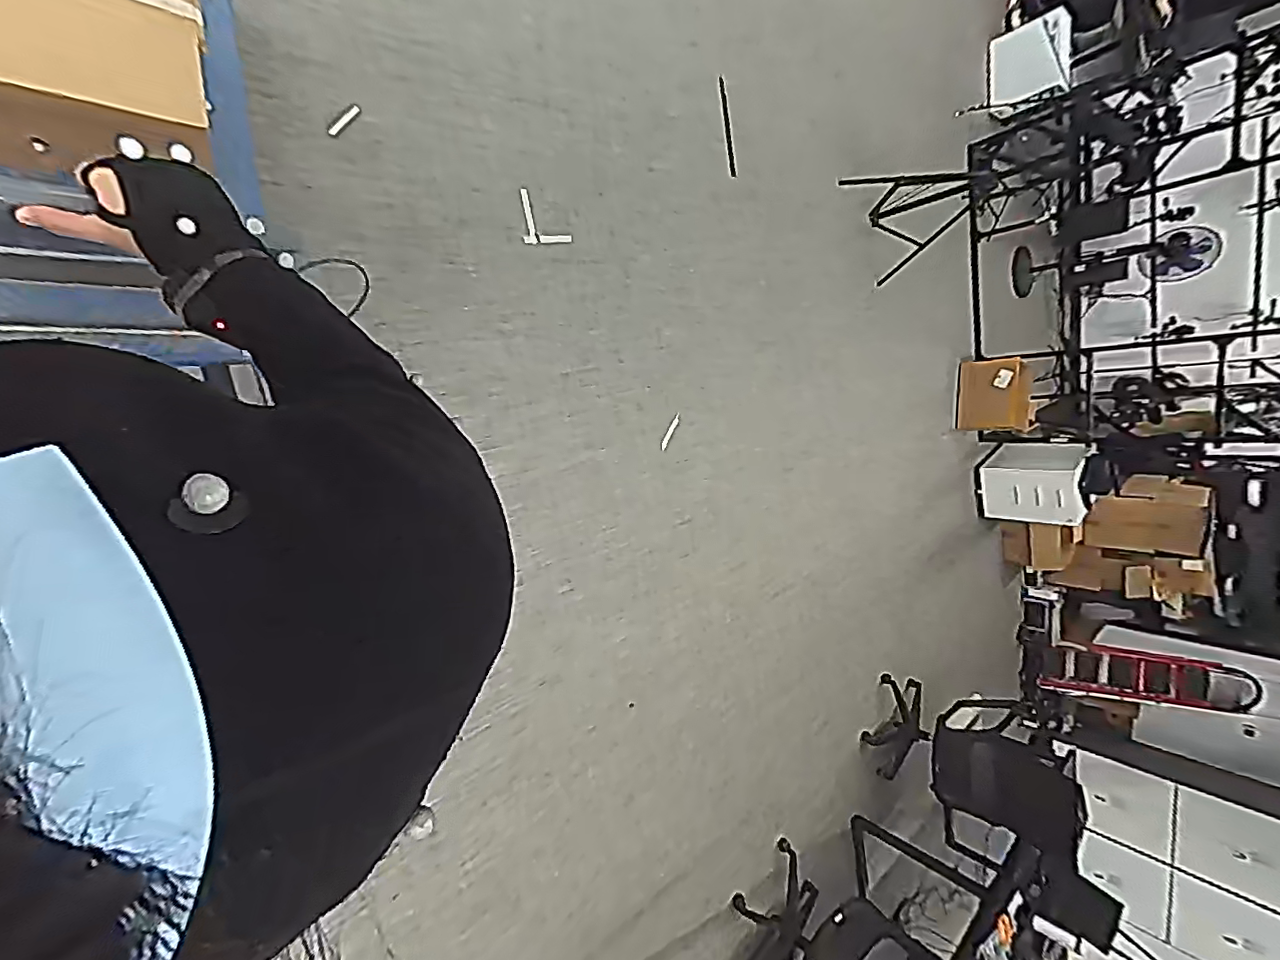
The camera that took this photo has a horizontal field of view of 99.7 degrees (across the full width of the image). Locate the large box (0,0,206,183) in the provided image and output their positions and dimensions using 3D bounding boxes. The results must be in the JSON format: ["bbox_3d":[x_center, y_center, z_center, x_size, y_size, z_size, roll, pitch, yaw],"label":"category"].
[{"bbox_3d":[-0.907,-0.676,0.780,0.408,0.320,0.320,-8,98,-38],"label":"large box"}]
